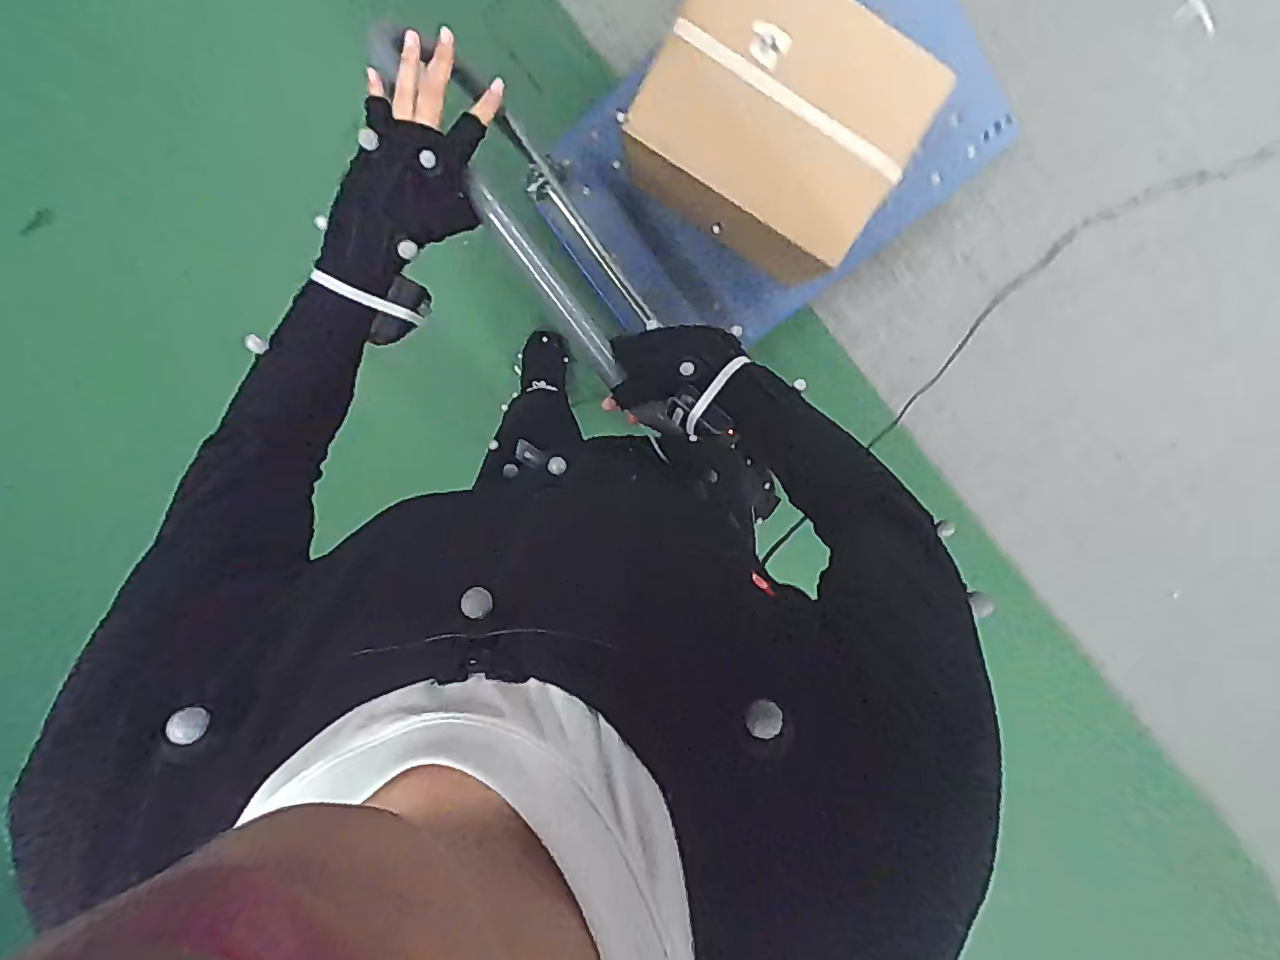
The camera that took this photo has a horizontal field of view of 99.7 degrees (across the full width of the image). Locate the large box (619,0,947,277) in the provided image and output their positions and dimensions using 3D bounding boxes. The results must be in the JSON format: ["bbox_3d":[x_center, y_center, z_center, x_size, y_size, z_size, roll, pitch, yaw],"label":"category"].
[{"bbox_3d":[0.221,-0.612,0.965,0.408,0.320,0.320,30,103,-4],"label":"large box"}]
